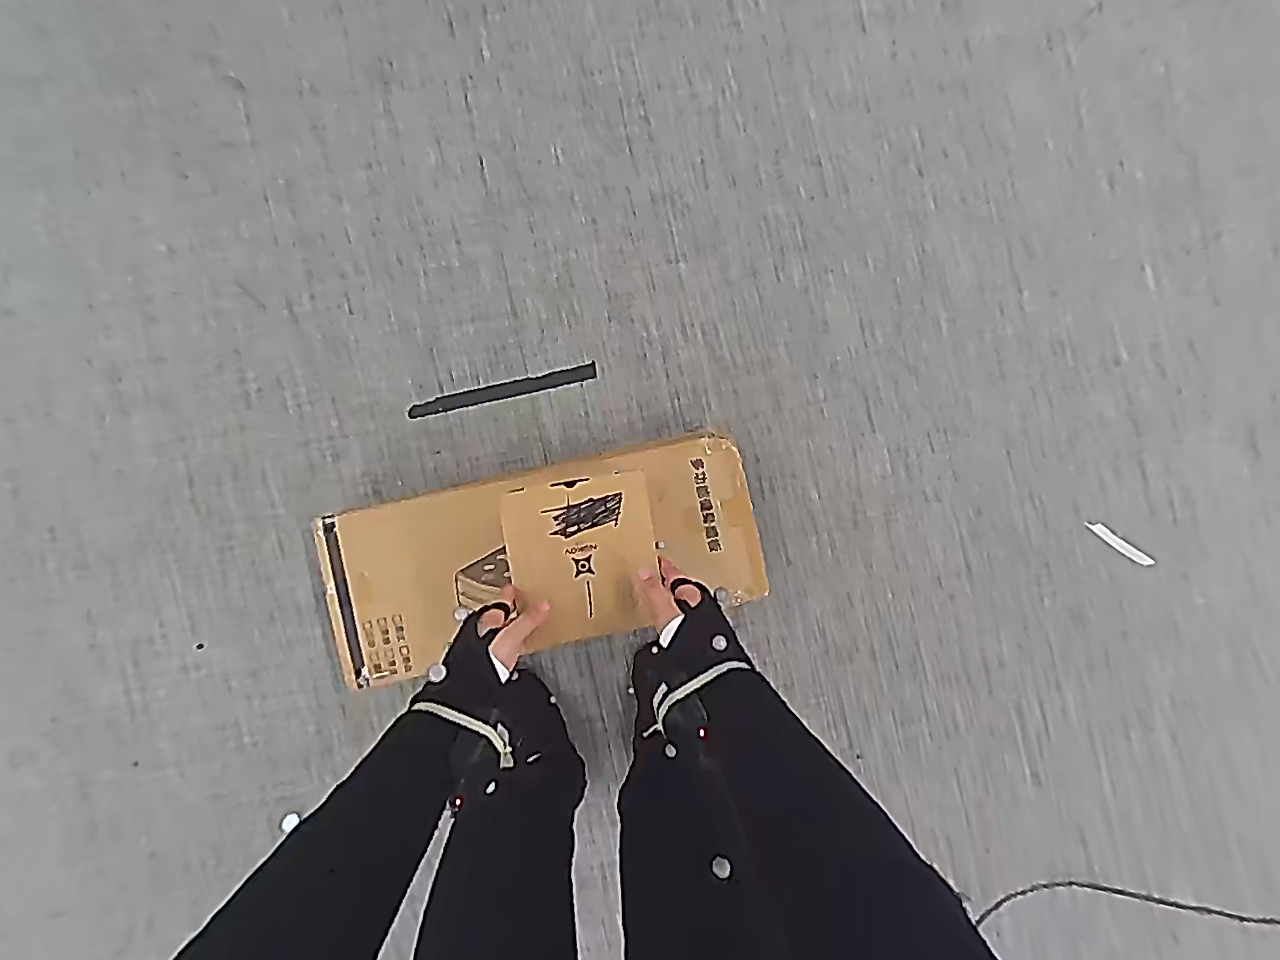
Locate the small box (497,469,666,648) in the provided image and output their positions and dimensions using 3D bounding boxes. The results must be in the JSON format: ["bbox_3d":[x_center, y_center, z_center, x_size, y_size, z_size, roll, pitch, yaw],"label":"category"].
[{"bbox_3d":[-0.067,0.090,0.678,0.168,0.176,0.179,-11,88,-1],"label":"small box"}]
